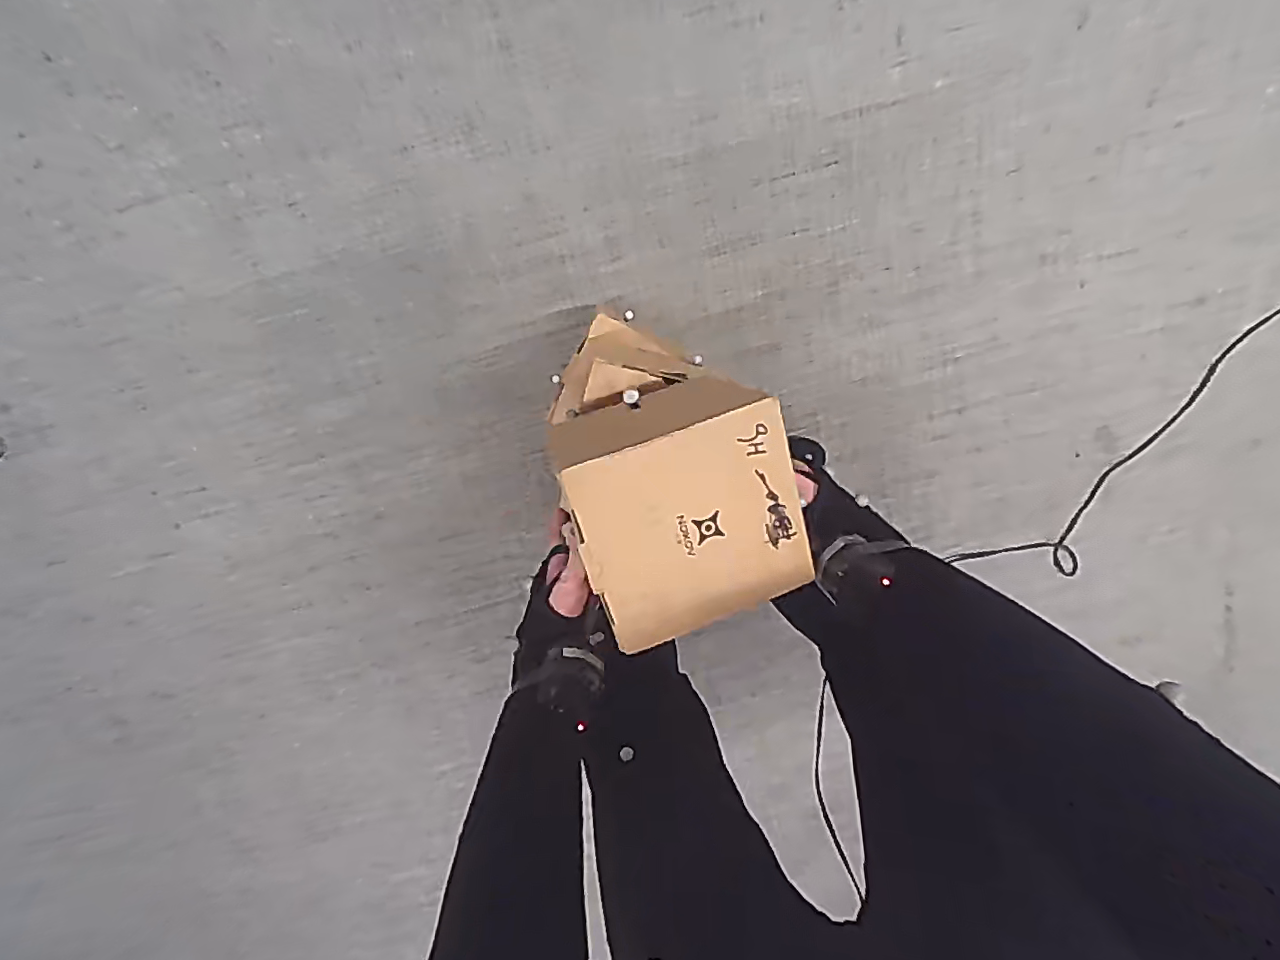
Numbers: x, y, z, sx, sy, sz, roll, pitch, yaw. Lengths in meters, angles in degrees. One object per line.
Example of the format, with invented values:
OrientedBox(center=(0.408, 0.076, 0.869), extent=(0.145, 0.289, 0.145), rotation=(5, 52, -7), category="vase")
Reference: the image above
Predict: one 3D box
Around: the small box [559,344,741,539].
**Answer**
OrientedBox(center=(0.003, -0.056, 0.661), extent=(0.168, 0.176, 0.179), rotation=(13, 112, -8), category="small box")

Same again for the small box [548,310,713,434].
OrientedBox(center=(-0.019, -0.140, 0.804), extent=(0.179, 0.176, 0.168), rotation=(24, 109, -14), category="small box")
